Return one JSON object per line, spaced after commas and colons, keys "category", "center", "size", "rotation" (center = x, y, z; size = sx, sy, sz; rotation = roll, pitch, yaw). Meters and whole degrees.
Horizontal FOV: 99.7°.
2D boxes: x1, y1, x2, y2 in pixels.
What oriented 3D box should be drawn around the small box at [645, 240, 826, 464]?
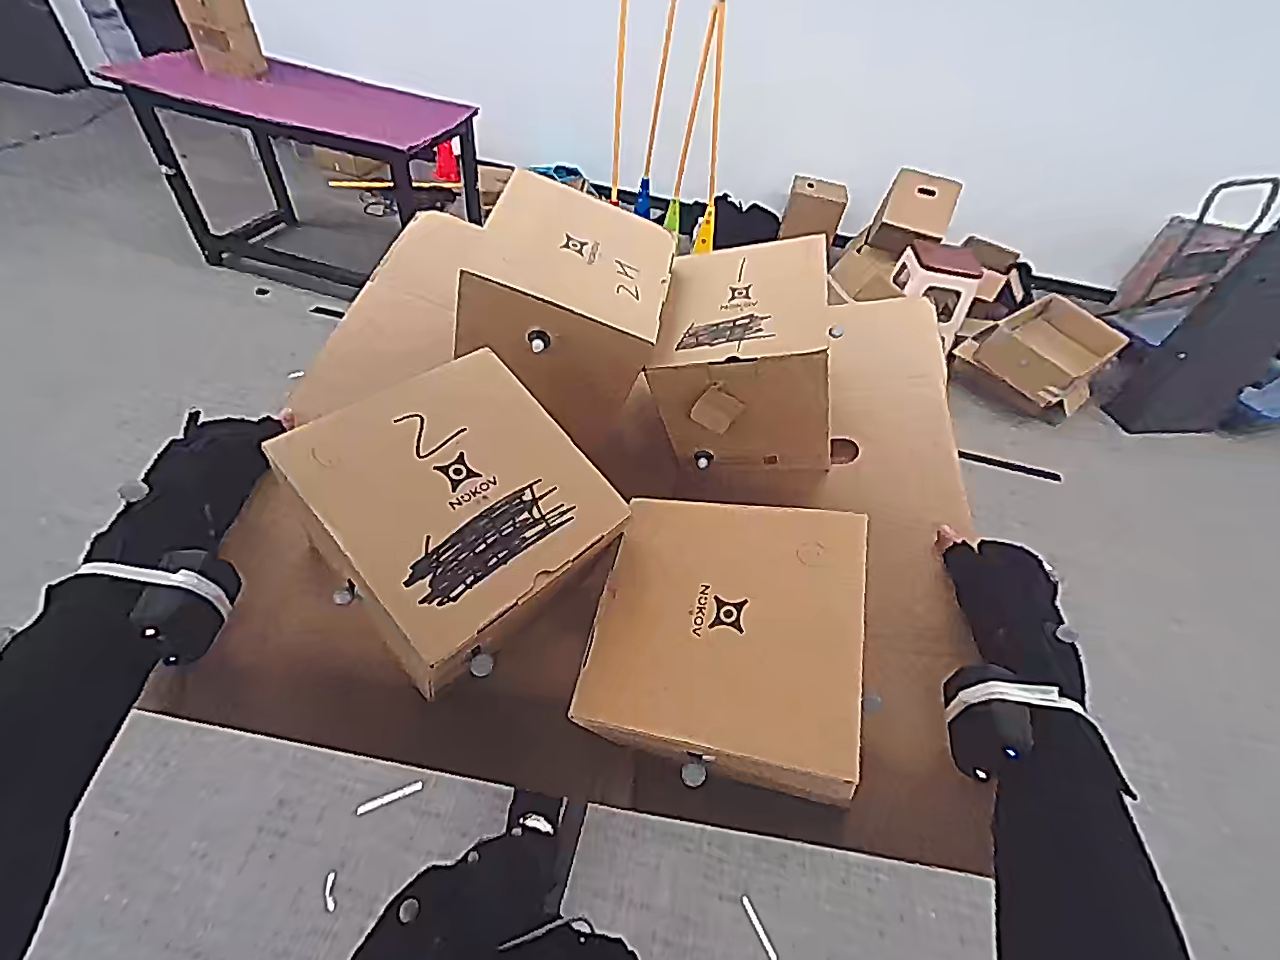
{"category": "small box", "center": [0.118, -0.130, 0.599], "size": [0.168, 0.176, 0.179], "rotation": [0, 54, 19]}
